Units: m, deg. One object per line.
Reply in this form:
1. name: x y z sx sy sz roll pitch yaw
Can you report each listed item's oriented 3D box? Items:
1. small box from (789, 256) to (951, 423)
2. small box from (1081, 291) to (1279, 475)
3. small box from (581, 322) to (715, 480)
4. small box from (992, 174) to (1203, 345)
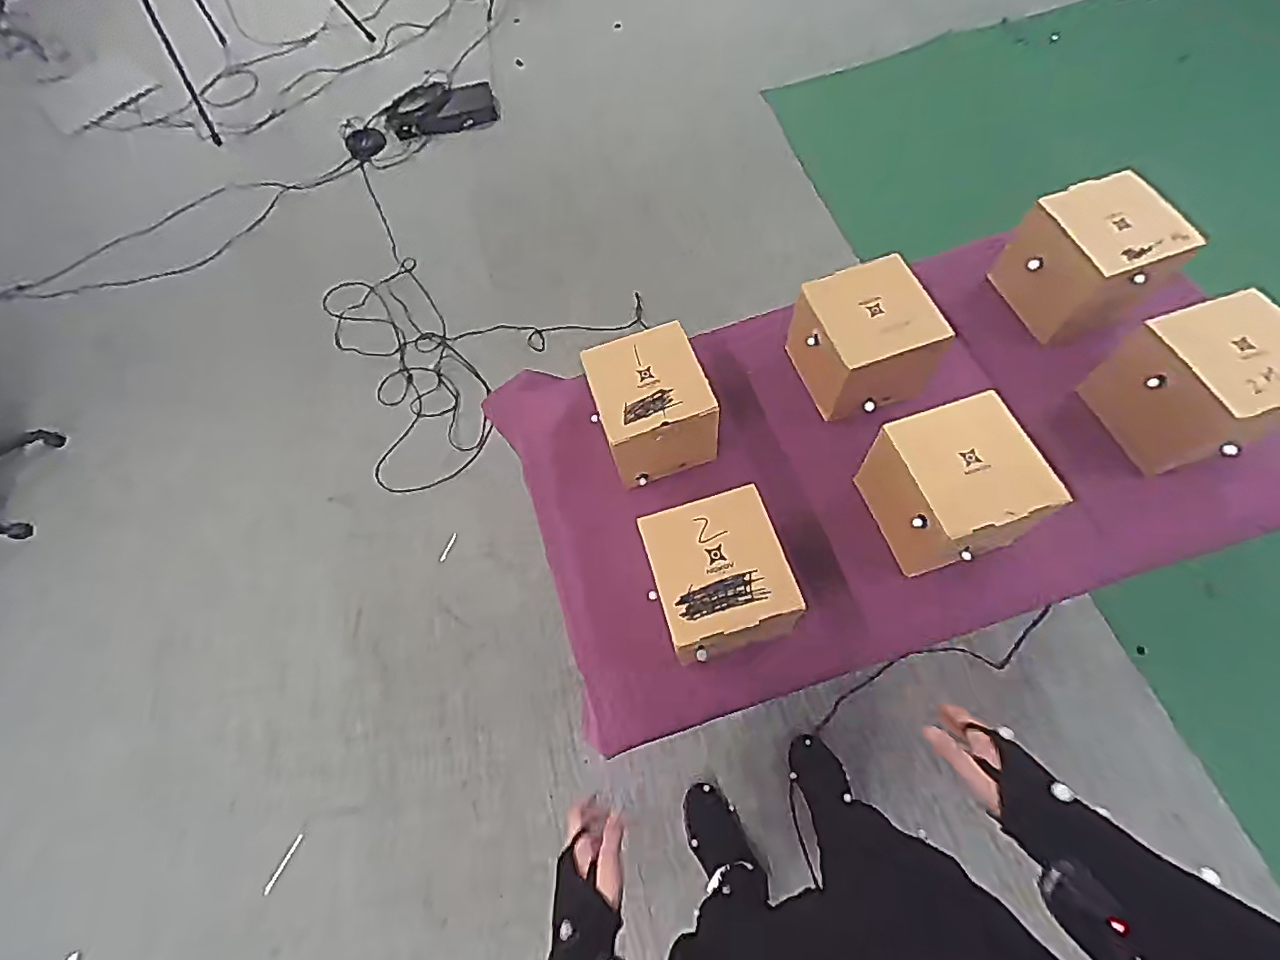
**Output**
1. small box: 0.359 -0.224 0.888 0.168 0.176 0.179 -18 66 -1
2. small box: 0.809 -0.135 0.788 0.168 0.176 0.179 -17 64 0
3. small box: 0.017 -0.116 0.878 0.168 0.176 0.179 -18 65 -2
4. small box: 0.738 -0.360 0.901 0.168 0.176 0.179 -19 65 -1
